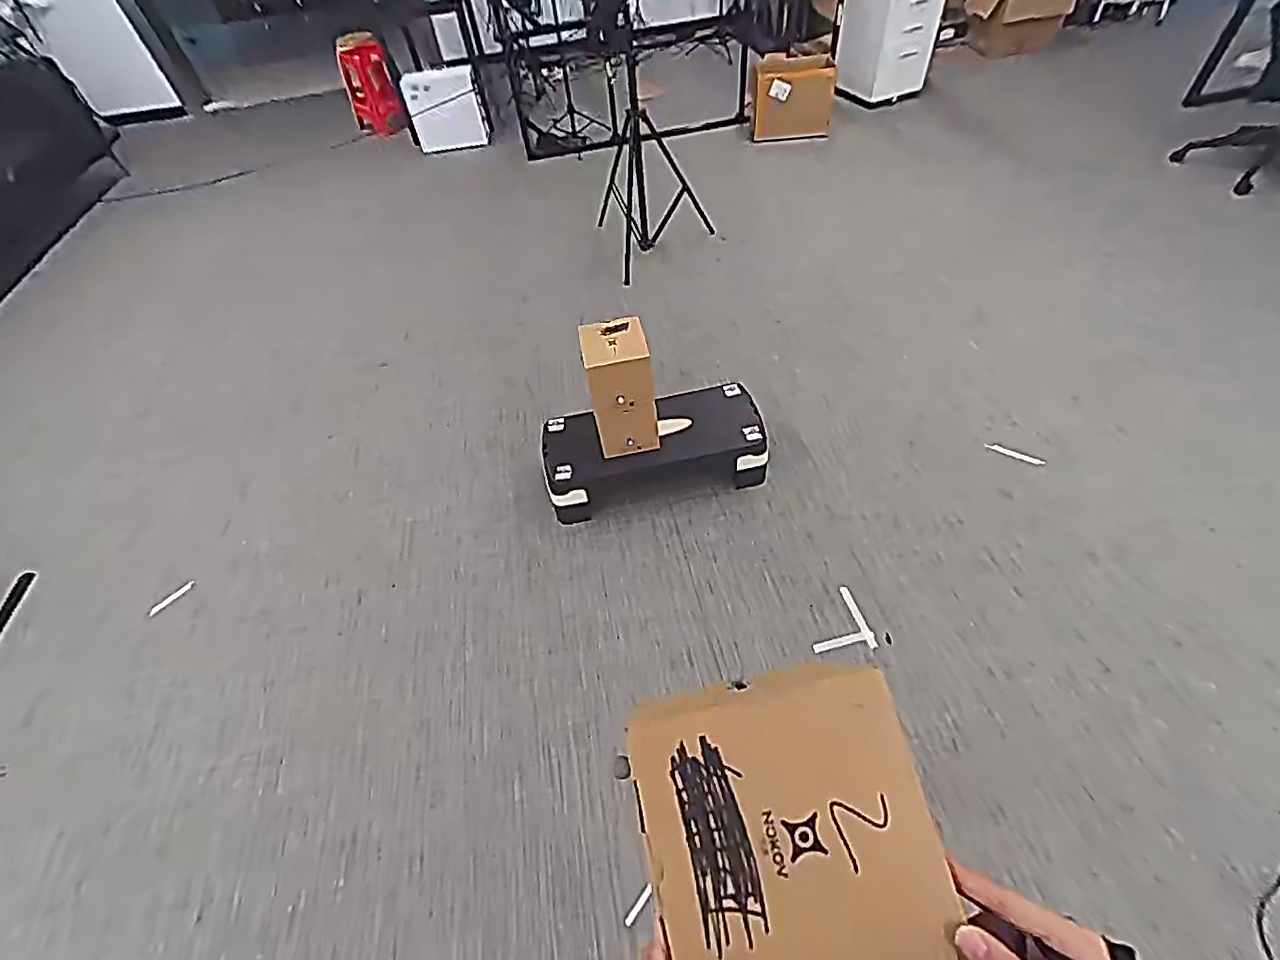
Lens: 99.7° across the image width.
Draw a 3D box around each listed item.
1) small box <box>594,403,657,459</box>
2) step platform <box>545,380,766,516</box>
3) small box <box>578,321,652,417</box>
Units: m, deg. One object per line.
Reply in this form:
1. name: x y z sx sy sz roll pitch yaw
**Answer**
1. small box: -0.048 -0.188 1.564 0.168 0.176 0.179 -11 51 -2
2. step platform: 0.046 -0.109 1.714 0.684 0.204 0.286 -12 50 -3
3. small box: -0.065 -0.294 1.440 0.168 0.176 0.179 -11 51 -2
